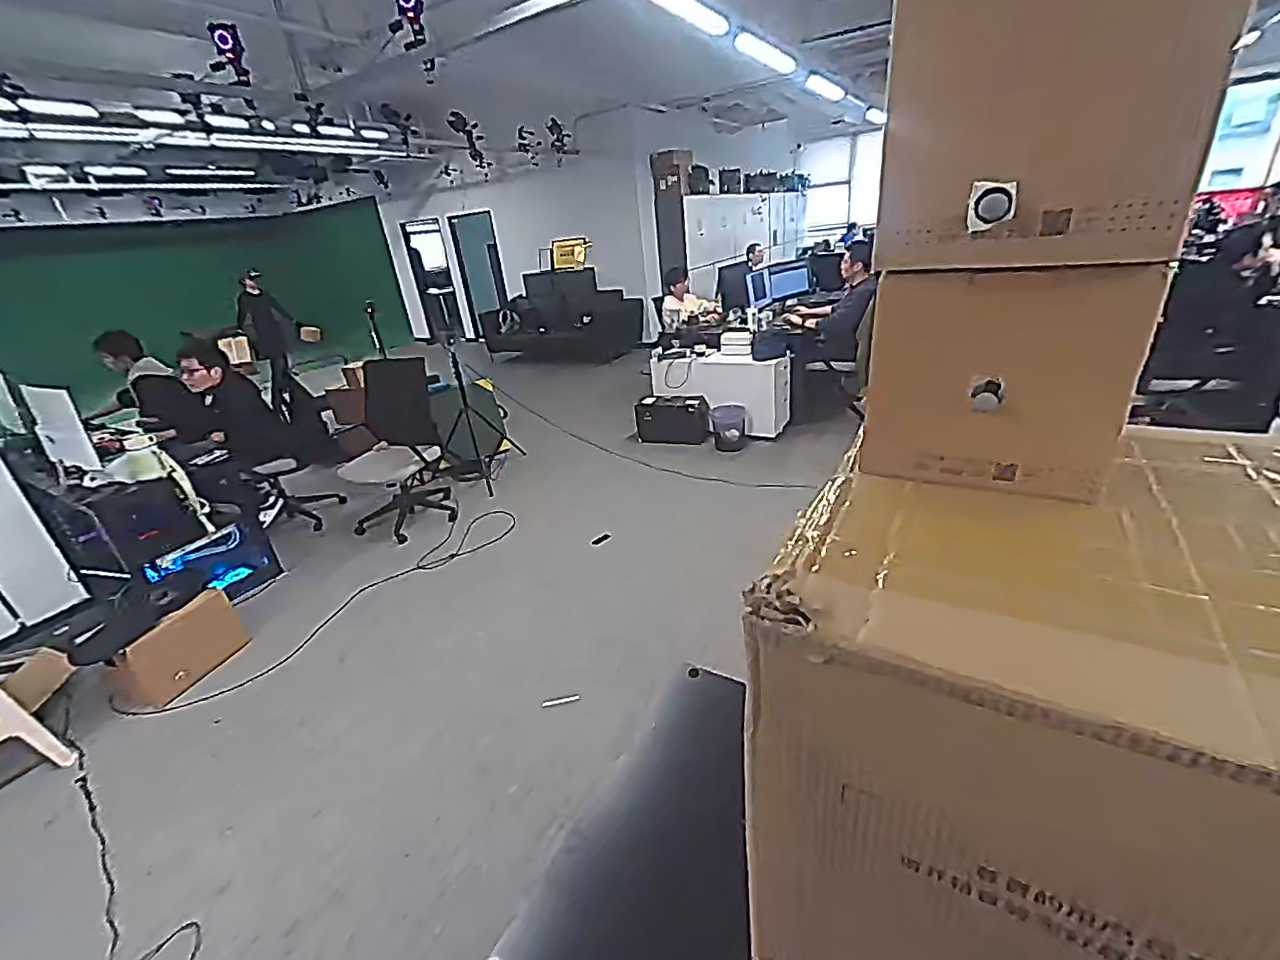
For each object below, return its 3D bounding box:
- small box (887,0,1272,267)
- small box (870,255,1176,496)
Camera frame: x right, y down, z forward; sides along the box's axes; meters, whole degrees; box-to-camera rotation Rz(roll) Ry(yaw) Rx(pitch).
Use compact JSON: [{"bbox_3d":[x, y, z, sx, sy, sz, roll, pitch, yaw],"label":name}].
[{"bbox_3d":[0.276,-0.243,0.370,0.168,0.176,0.179,10,29,32],"label":"small box"},{"bbox_3d":[0.296,-0.102,0.451,0.168,0.176,0.179,10,29,30],"label":"small box"}]
